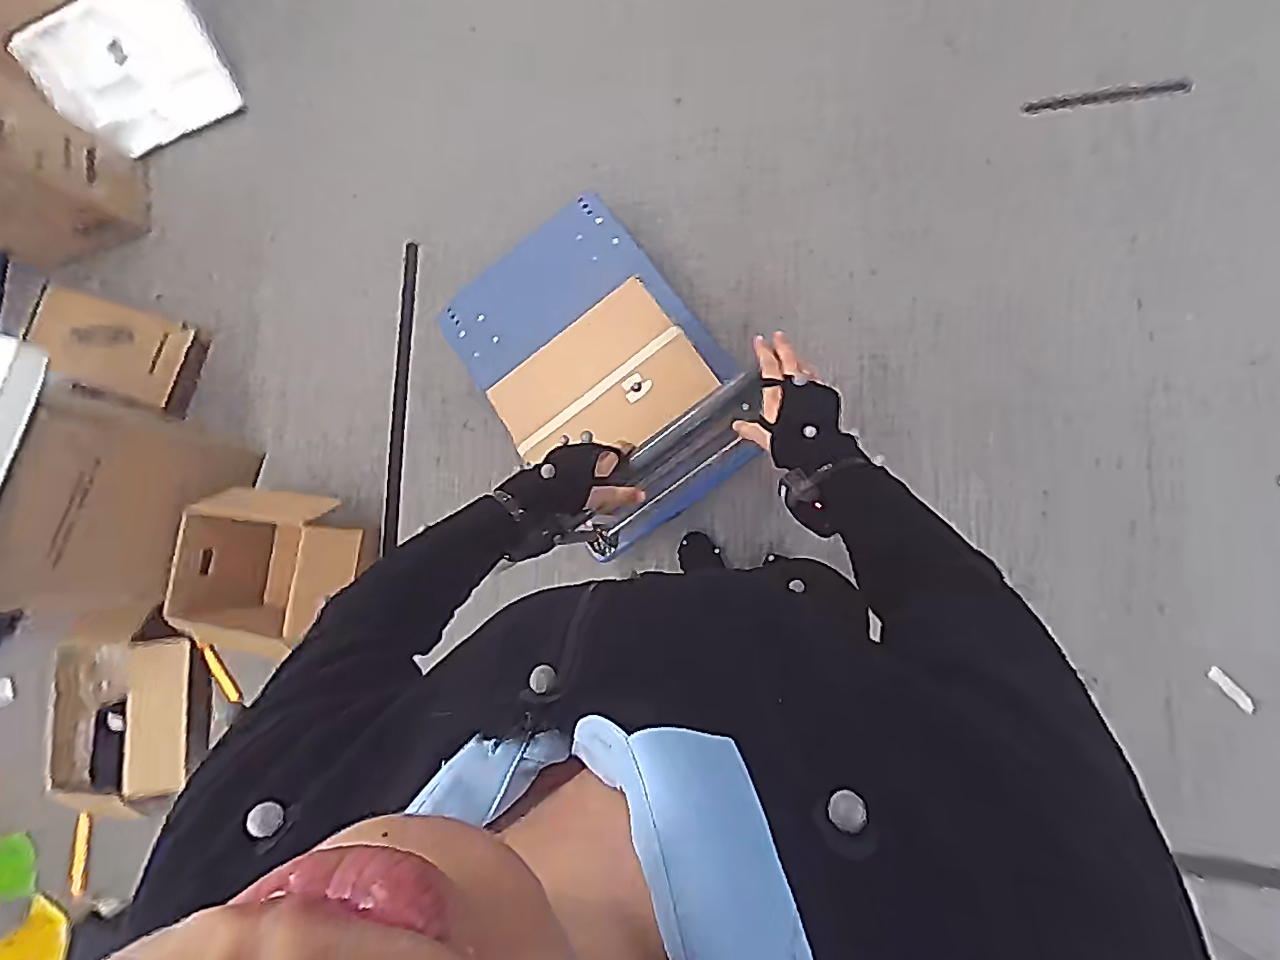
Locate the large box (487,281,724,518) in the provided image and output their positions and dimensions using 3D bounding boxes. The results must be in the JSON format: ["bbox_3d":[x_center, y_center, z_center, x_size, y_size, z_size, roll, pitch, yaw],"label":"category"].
[{"bbox_3d":[-0.060,-0.155,1.246,0.408,0.320,0.320,-37,78,5],"label":"large box"}]
